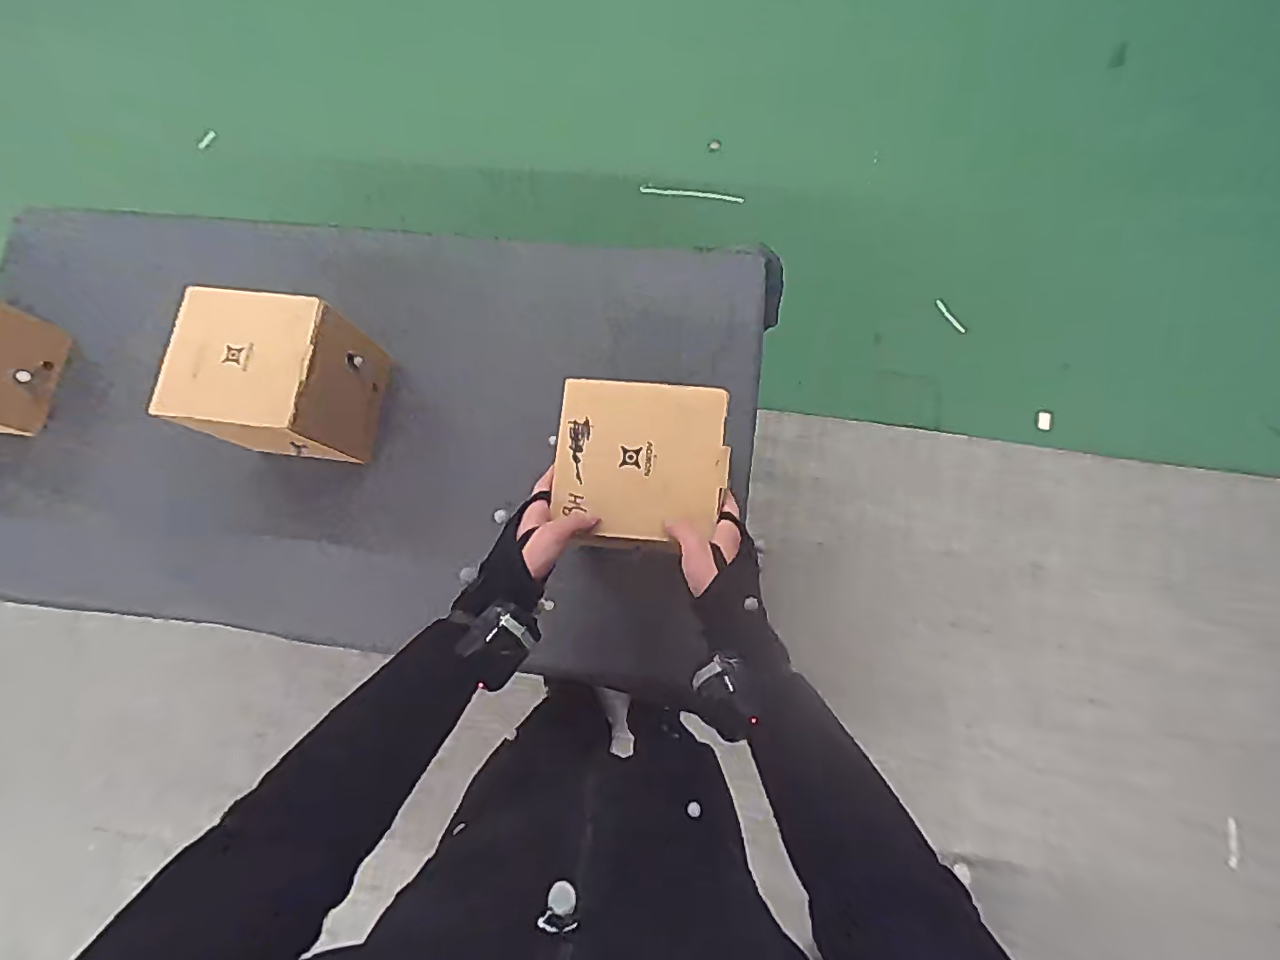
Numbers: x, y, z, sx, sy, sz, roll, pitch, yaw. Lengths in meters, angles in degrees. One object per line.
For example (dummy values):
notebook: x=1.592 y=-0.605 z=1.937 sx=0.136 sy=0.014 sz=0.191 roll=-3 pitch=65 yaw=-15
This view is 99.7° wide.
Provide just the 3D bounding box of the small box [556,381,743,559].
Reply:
small box: x=0.012 y=0.000 z=0.624 sx=0.179 sy=0.176 sz=0.168 roll=6 pitch=79 yaw=2

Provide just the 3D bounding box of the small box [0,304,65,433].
small box: x=-0.956 y=-0.169 z=0.720 sx=0.179 sy=0.176 sz=0.168 roll=7 pitch=79 yaw=3

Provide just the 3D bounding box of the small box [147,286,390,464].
small box: x=-0.454 y=-0.123 z=0.693 sx=0.179 sy=0.176 sz=0.168 roll=6 pitch=78 yaw=5
